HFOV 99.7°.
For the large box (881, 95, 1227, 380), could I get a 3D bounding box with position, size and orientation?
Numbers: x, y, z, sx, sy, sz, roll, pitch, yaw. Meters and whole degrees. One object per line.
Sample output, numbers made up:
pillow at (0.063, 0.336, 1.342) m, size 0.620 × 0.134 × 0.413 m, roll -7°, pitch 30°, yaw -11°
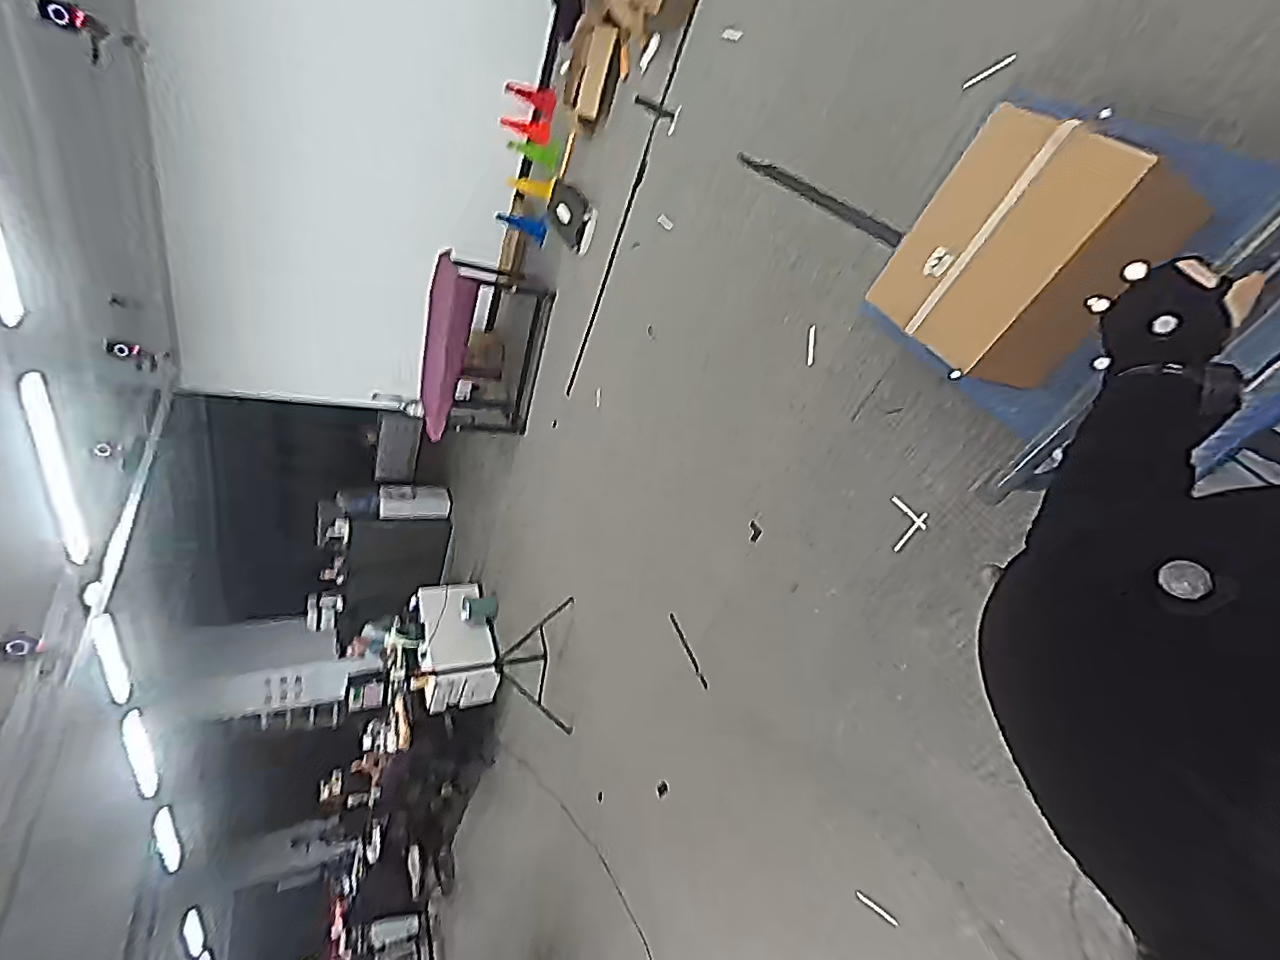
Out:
large box at (0.796, -0.463, 1.090) m, size 0.408 × 0.320 × 0.320 m, roll -63°, pitch 39°, yaw 37°
